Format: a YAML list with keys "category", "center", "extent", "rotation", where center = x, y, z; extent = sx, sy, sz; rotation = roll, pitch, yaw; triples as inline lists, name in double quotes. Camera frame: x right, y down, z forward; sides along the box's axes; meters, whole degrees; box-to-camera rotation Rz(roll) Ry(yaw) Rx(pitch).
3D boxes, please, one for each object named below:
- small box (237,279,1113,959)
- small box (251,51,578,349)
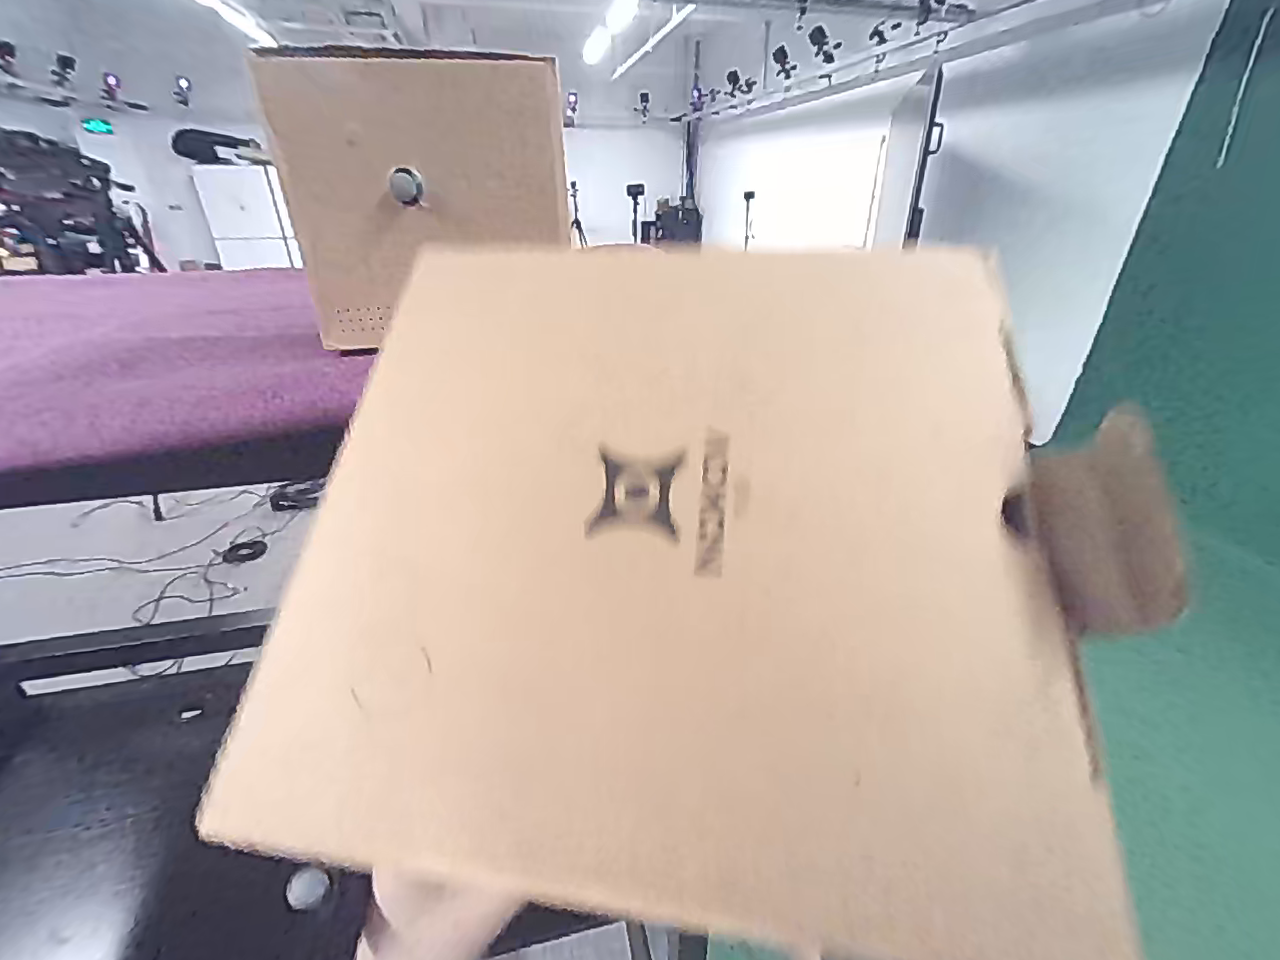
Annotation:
- category: "small box"
  center: [0.015, 0.046, 0.209]
  extent: [0.179, 0.176, 0.168]
  rotation: [4, 65, 8]
- category: "small box"
  center: [-0.146, -0.203, 0.419]
  extent: [0.179, 0.176, 0.168]
  rotation: [-7, 27, -10]
